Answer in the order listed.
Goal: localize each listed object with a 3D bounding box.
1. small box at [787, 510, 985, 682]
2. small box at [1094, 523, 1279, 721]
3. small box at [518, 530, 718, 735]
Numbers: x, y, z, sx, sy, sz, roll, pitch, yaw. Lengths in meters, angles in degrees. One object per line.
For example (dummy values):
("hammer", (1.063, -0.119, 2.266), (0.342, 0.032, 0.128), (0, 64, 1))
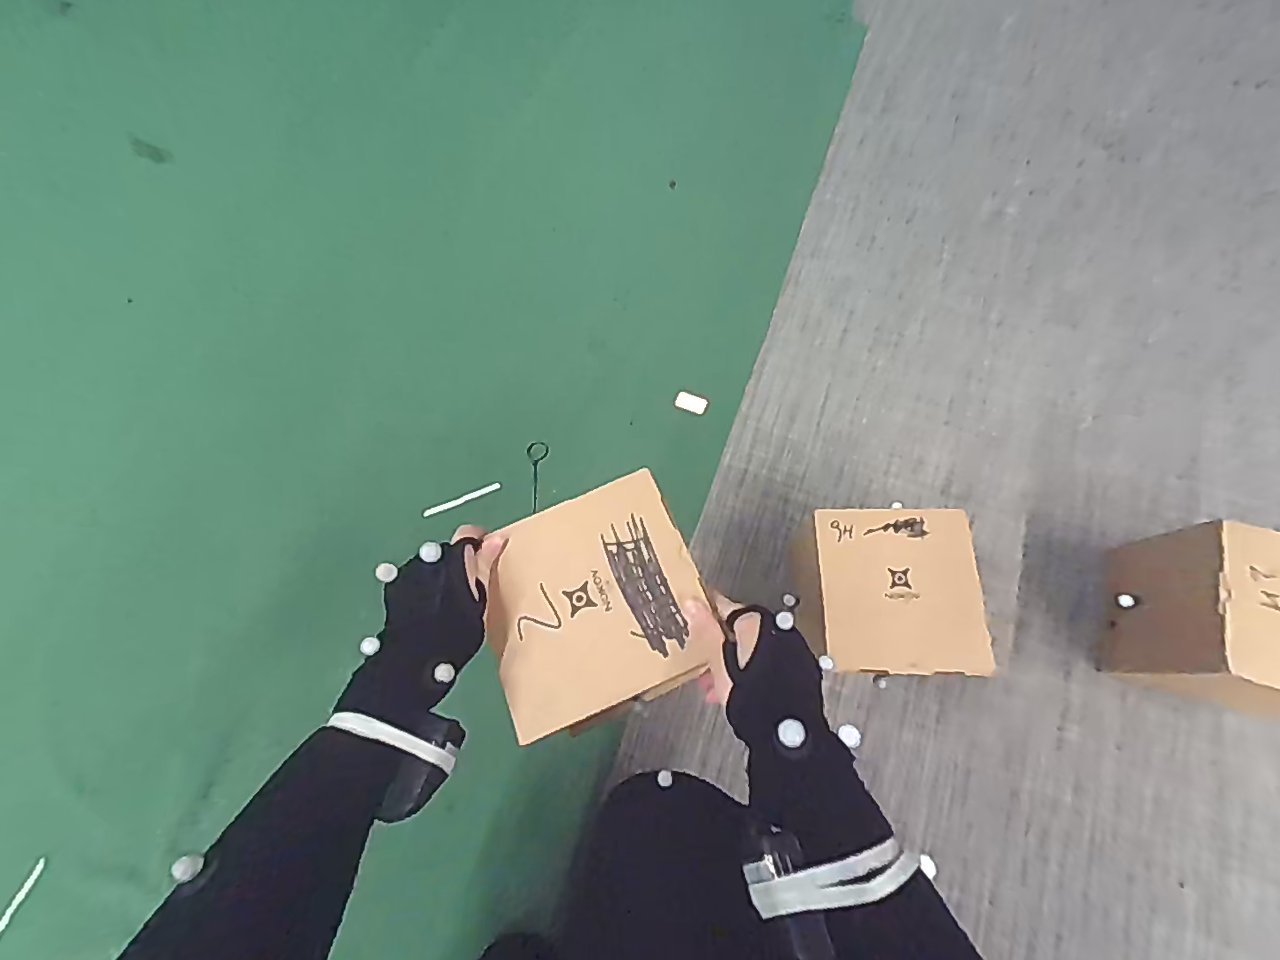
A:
("small box", (0.276, 0.142, 0.649), (0.168, 0.176, 0.179), (1, 72, 4))
("small box", (0.671, 0.167, 0.610), (0.179, 0.176, 0.168), (16, 72, 8))
("small box", (-0.021, 0.186, 0.656), (0.179, 0.176, 0.168), (-24, 70, -5))
